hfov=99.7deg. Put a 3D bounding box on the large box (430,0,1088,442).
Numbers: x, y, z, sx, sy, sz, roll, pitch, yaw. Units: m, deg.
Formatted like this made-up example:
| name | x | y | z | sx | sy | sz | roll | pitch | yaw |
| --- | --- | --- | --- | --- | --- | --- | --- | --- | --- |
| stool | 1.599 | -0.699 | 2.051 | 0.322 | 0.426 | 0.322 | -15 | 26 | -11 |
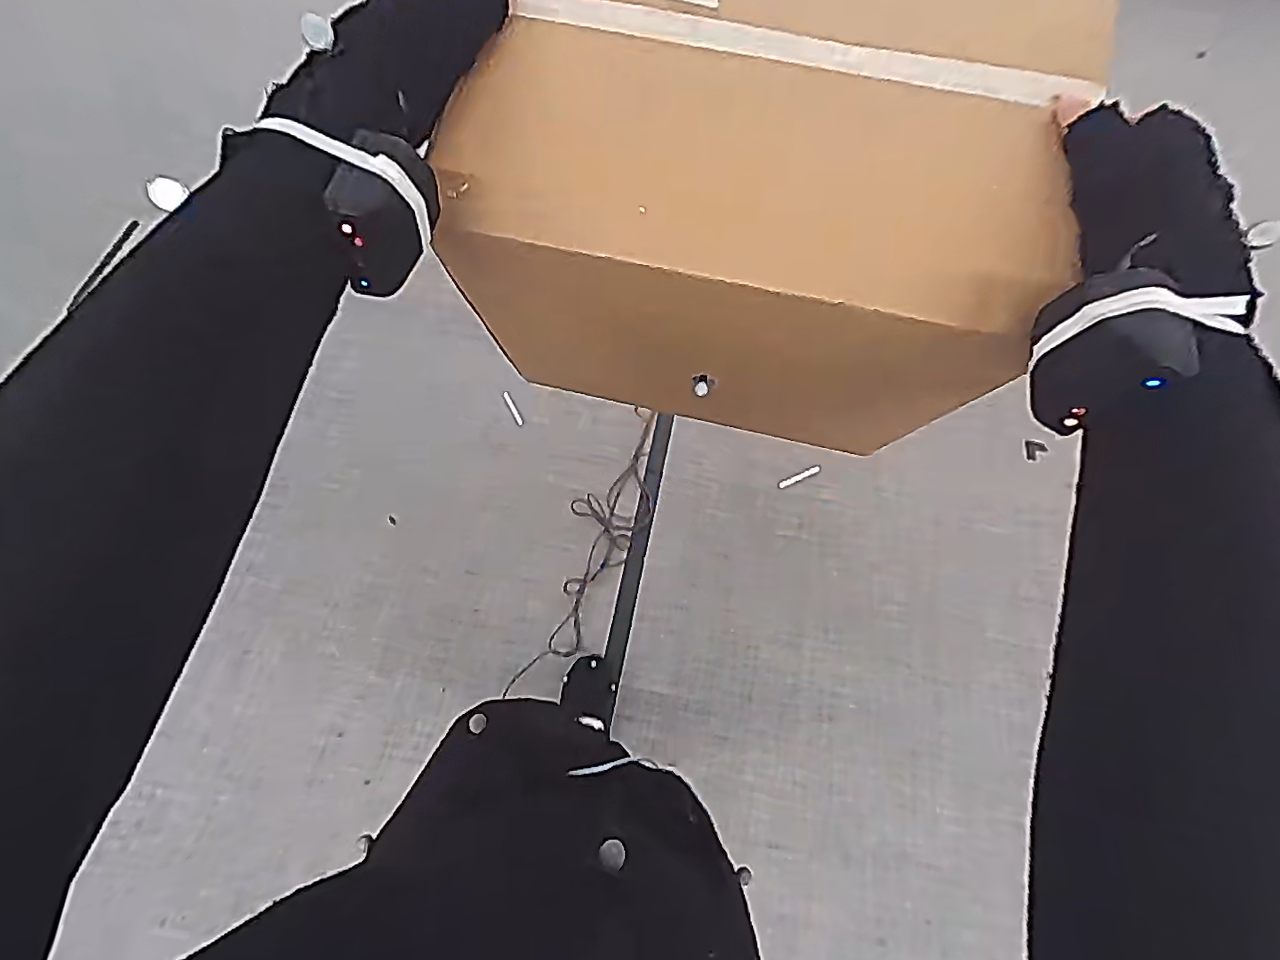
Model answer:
| name | x | y | z | sx | sy | sz | roll | pitch | yaw |
| --- | --- | --- | --- | --- | --- | --- | --- | --- | --- |
| large box | 0.093 | -0.248 | 0.510 | 0.408 | 0.320 | 0.320 | 13 | 81 | 5 |
